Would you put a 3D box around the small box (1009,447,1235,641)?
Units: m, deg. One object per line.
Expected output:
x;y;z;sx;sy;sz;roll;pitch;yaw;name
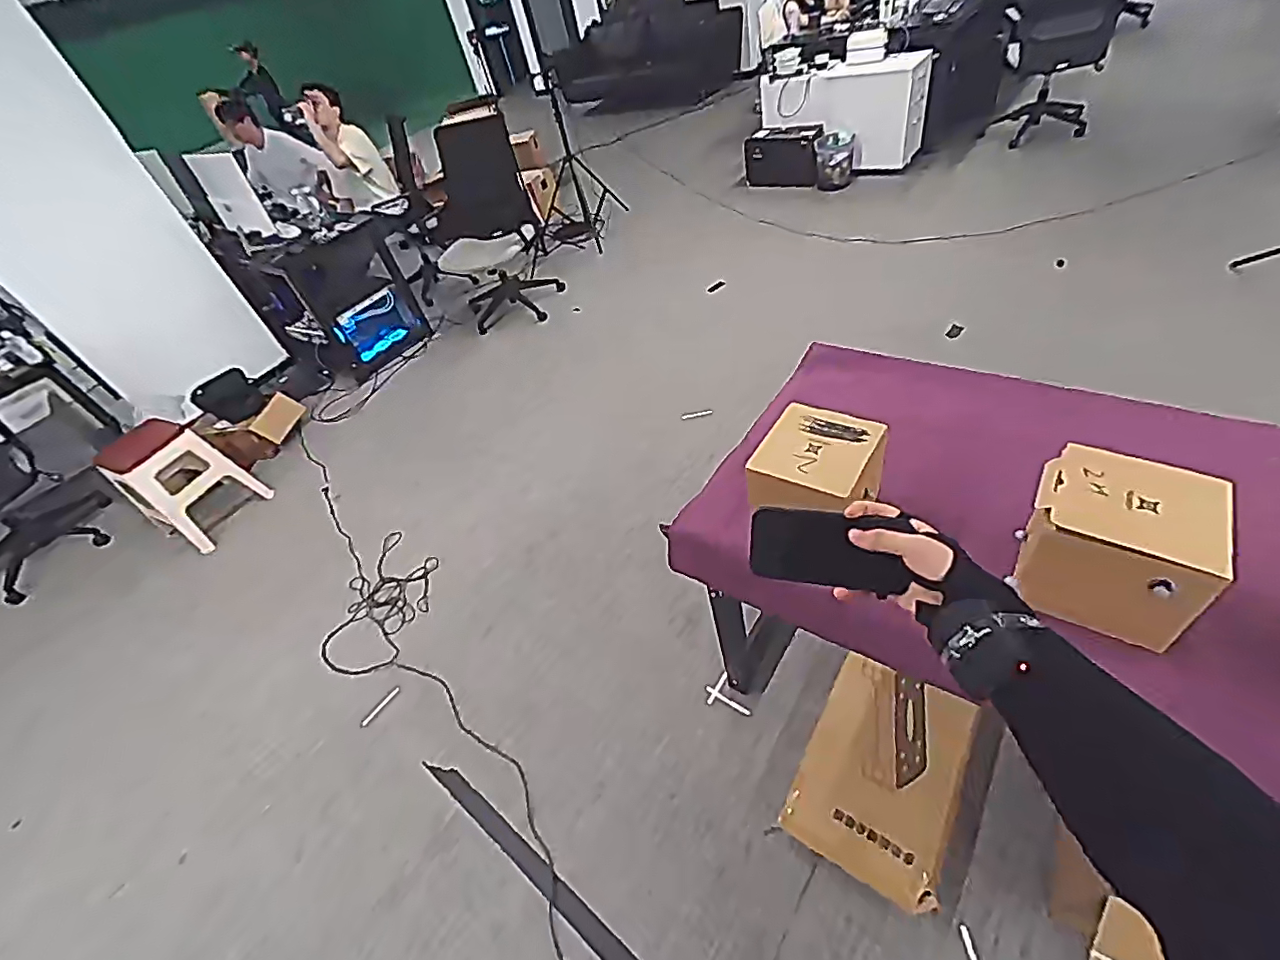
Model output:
0.630;0.087;0.721;0.179;0.176;0.168;19;52;31;small box
